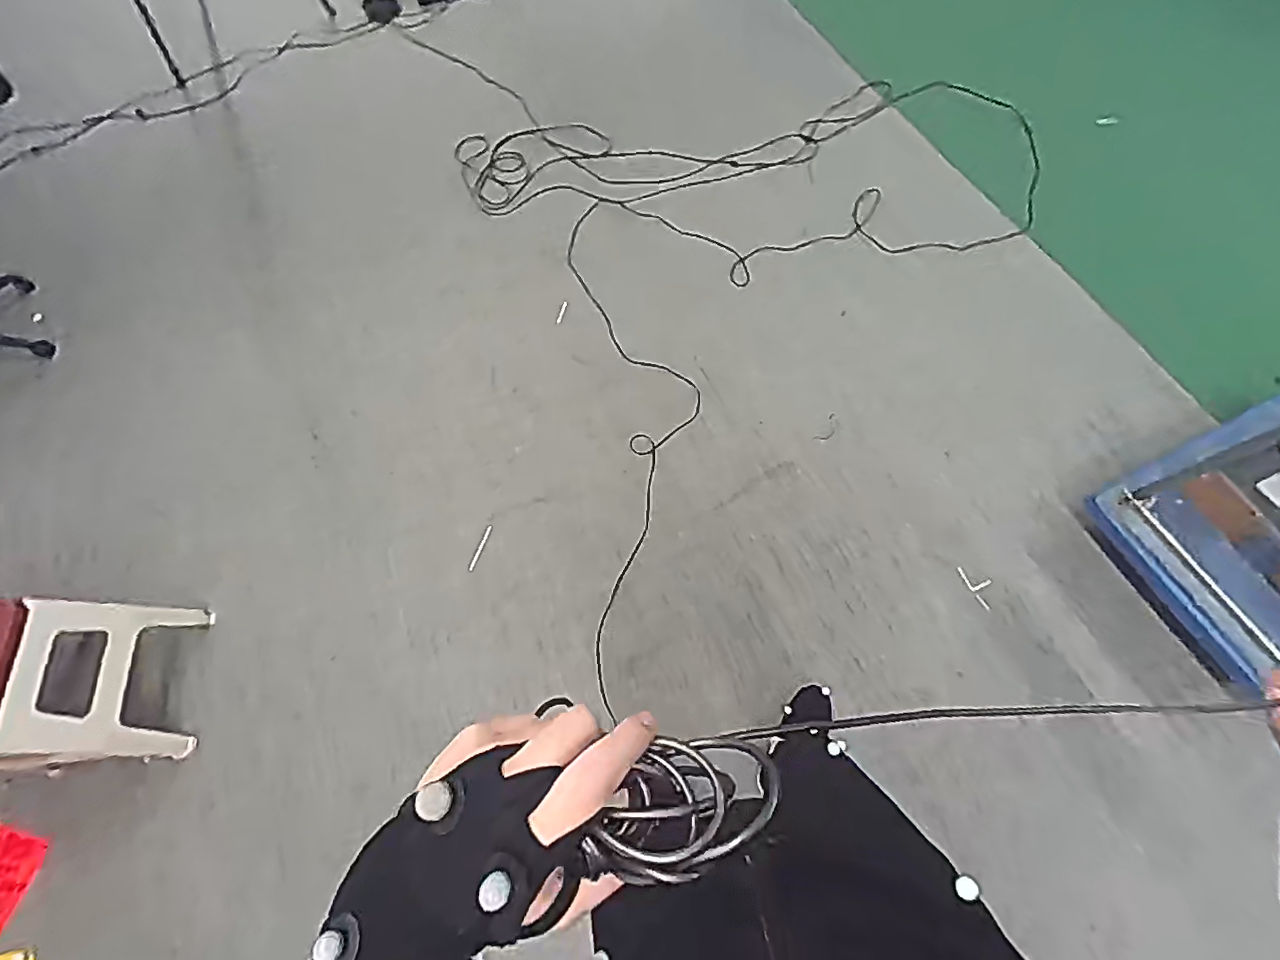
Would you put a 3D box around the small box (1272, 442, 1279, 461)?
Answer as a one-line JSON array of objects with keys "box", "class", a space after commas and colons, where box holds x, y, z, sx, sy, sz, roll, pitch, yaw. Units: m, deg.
[{"box": [1.751, -0.077, 1.331, 0.179, 0.176, 0.168, -28, 70, -8], "class": "small box"}]
